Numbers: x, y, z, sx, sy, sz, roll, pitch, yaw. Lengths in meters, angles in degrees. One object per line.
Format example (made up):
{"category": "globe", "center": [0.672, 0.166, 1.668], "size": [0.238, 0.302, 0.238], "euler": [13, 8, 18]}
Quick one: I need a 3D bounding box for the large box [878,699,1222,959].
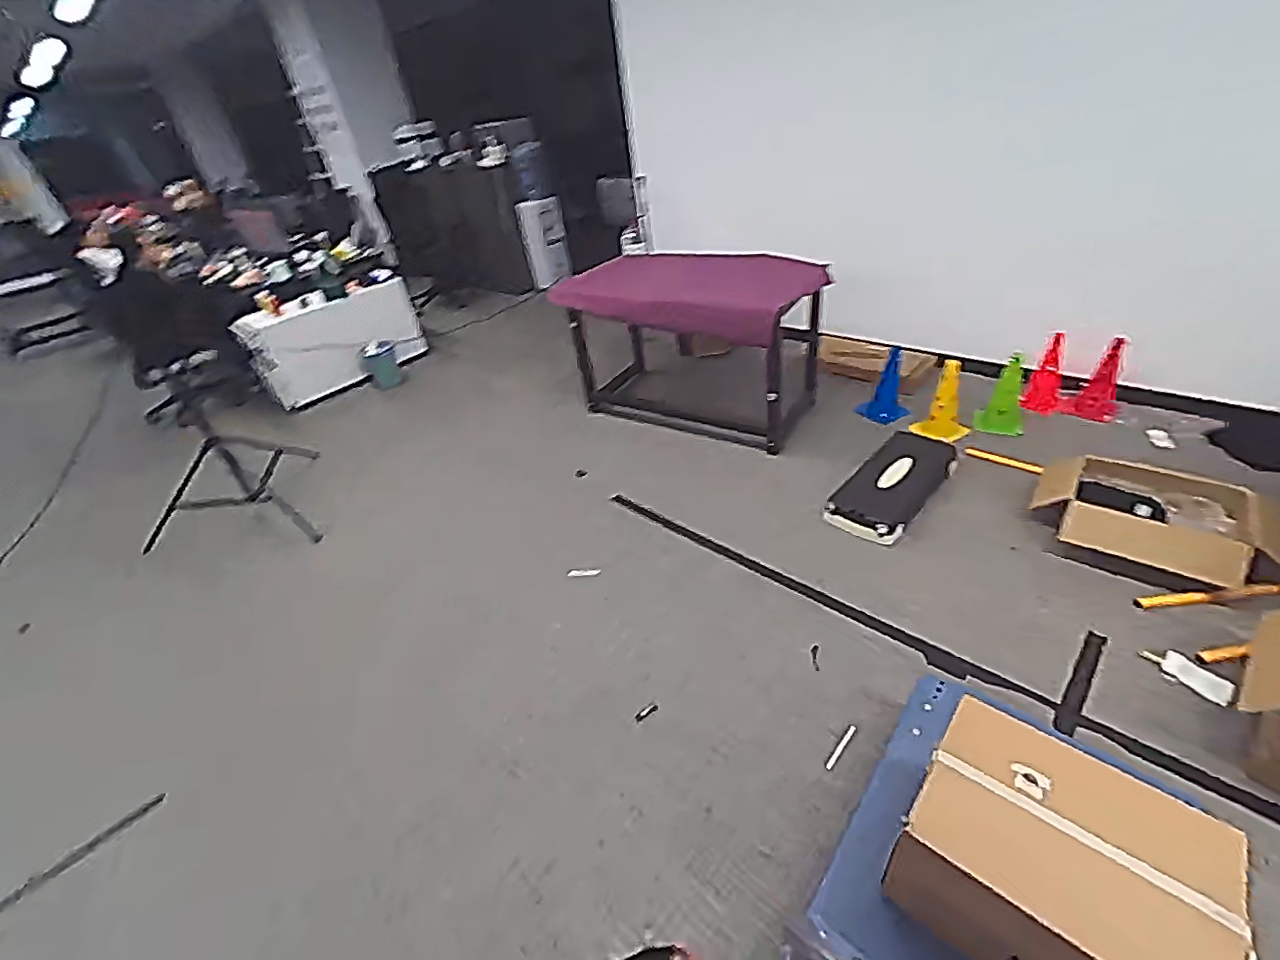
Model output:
{"category": "large box", "center": [0.704, 0.695, 0.977], "size": [0.408, 0.320, 0.320], "euler": [22, 46, 37]}
